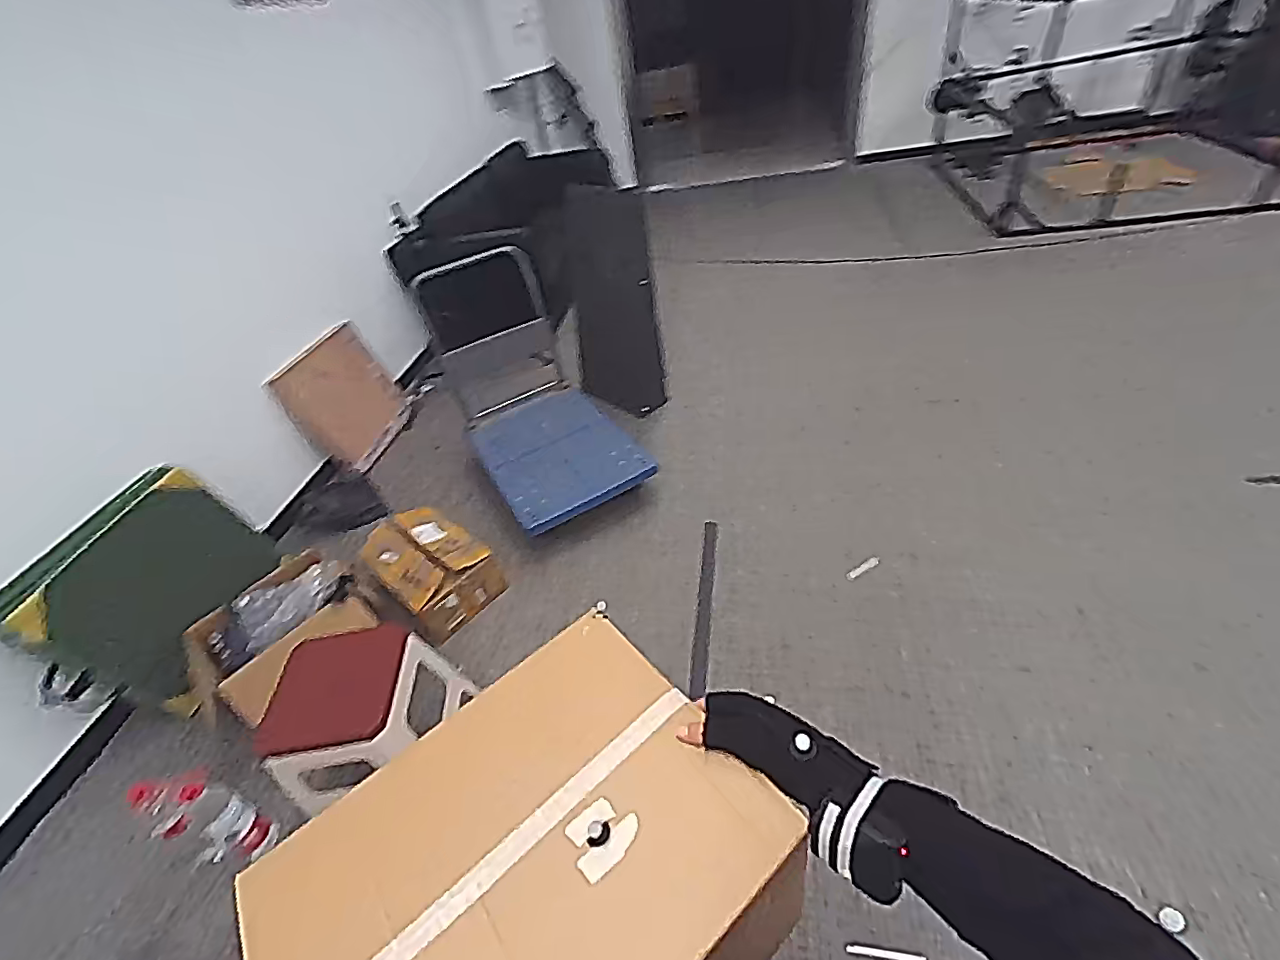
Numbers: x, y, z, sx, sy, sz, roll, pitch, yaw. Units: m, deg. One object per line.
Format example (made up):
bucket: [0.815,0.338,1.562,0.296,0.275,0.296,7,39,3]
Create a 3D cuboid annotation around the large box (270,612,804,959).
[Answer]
large box: [-0.077,0.435,0.571,0.408,0.320,0.320,-32,43,-23]
